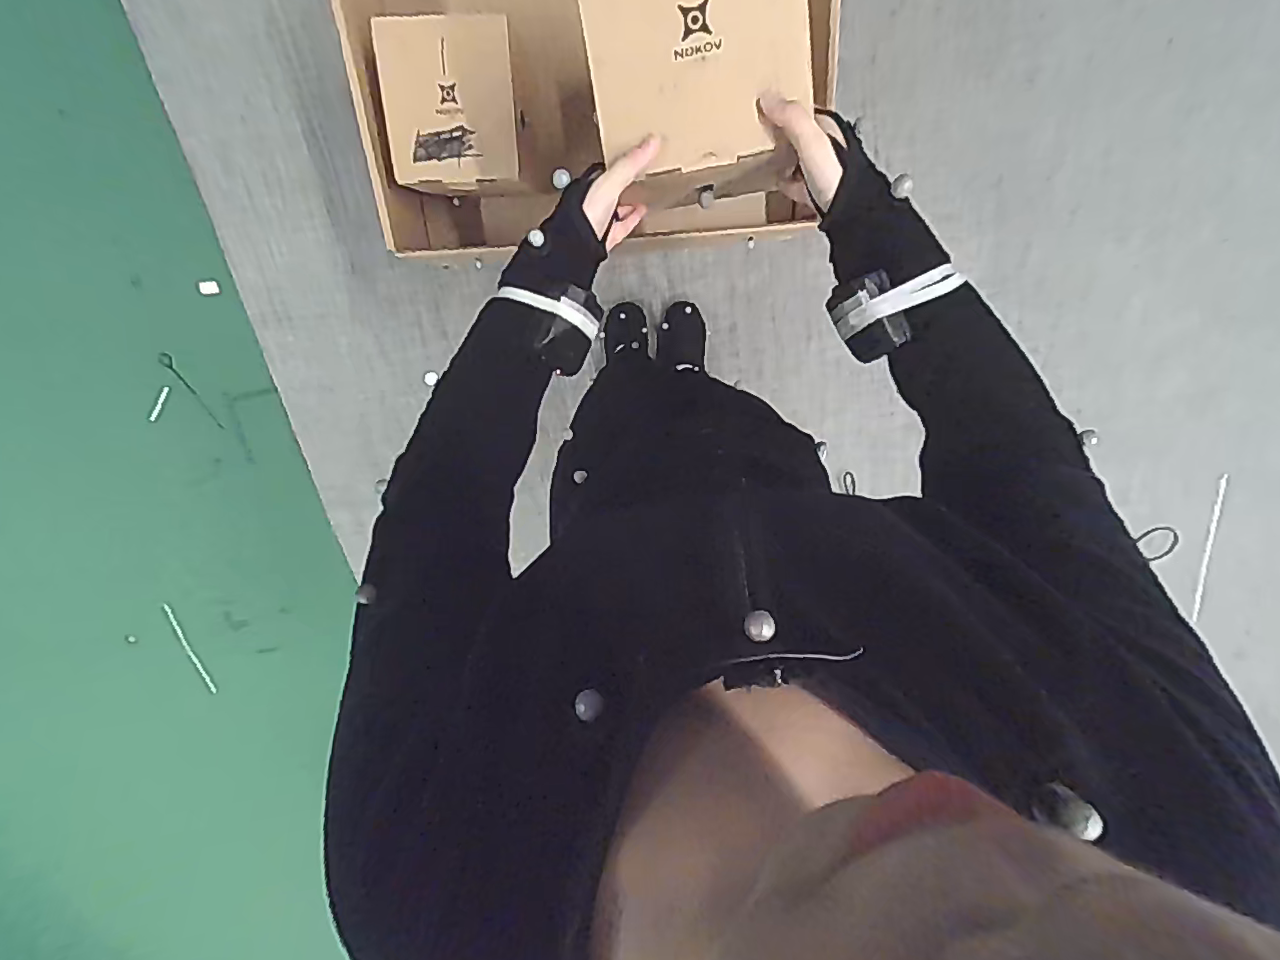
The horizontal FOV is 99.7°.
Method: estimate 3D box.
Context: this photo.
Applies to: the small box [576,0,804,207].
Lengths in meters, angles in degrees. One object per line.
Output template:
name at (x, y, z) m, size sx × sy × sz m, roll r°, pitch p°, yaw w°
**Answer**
small box at (0.046, -0.356, 0.484) m, size 0.168 × 0.176 × 0.179 m, roll -7°, pitch 108°, yaw 7°
